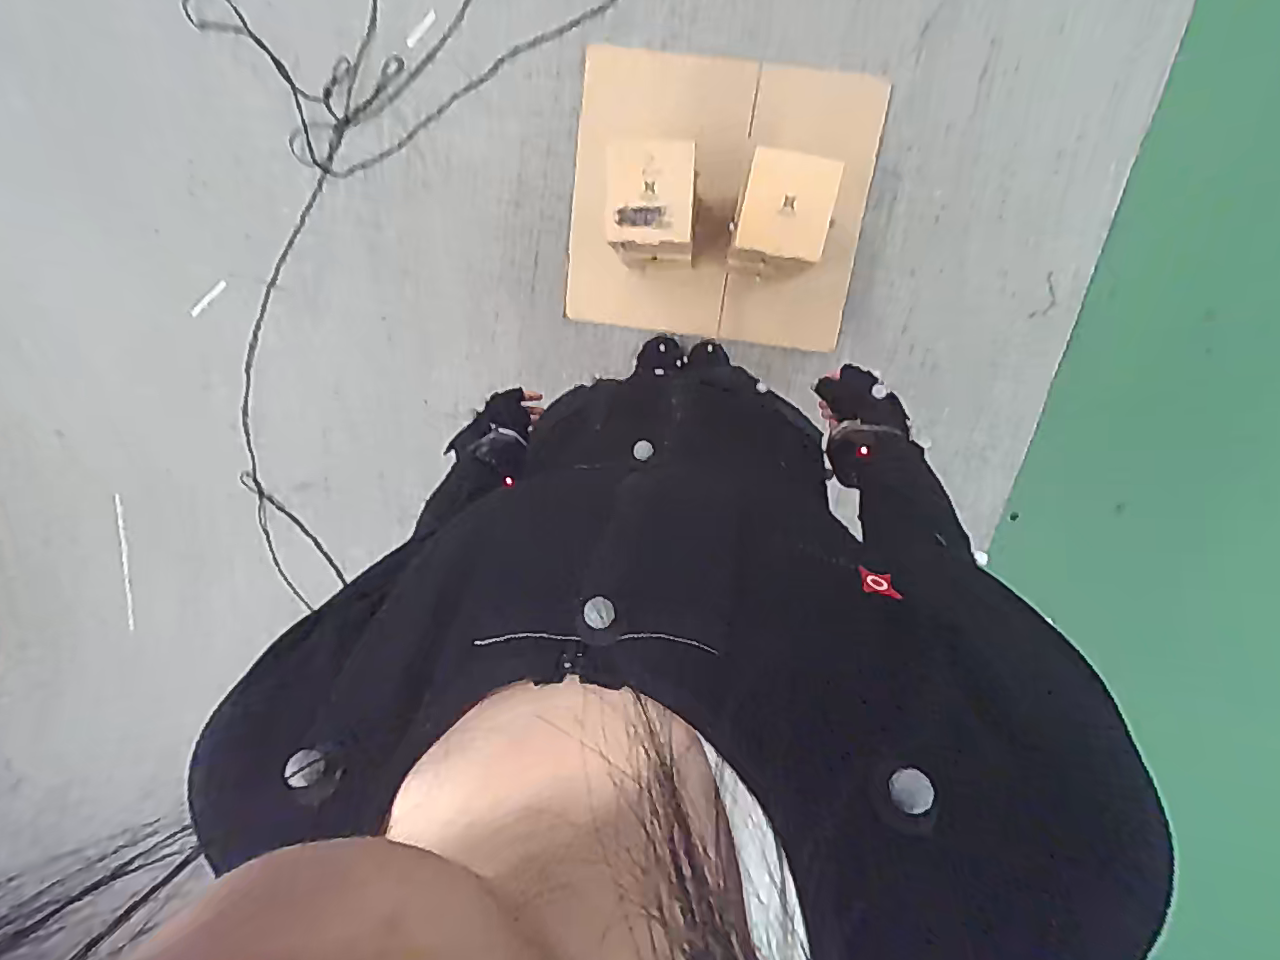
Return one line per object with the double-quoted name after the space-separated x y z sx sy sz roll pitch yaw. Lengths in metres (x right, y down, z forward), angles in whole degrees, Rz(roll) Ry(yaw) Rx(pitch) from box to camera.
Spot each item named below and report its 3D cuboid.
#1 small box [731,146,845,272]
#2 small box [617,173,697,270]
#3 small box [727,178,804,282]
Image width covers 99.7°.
0.280 -0.524 1.069 0.168 0.176 0.179 11 106 3 "small box"
0.043 -0.584 1.240 0.168 0.176 0.179 4 105 4 "small box"
0.293 -0.559 1.227 0.168 0.176 0.179 8 106 5 "small box"
